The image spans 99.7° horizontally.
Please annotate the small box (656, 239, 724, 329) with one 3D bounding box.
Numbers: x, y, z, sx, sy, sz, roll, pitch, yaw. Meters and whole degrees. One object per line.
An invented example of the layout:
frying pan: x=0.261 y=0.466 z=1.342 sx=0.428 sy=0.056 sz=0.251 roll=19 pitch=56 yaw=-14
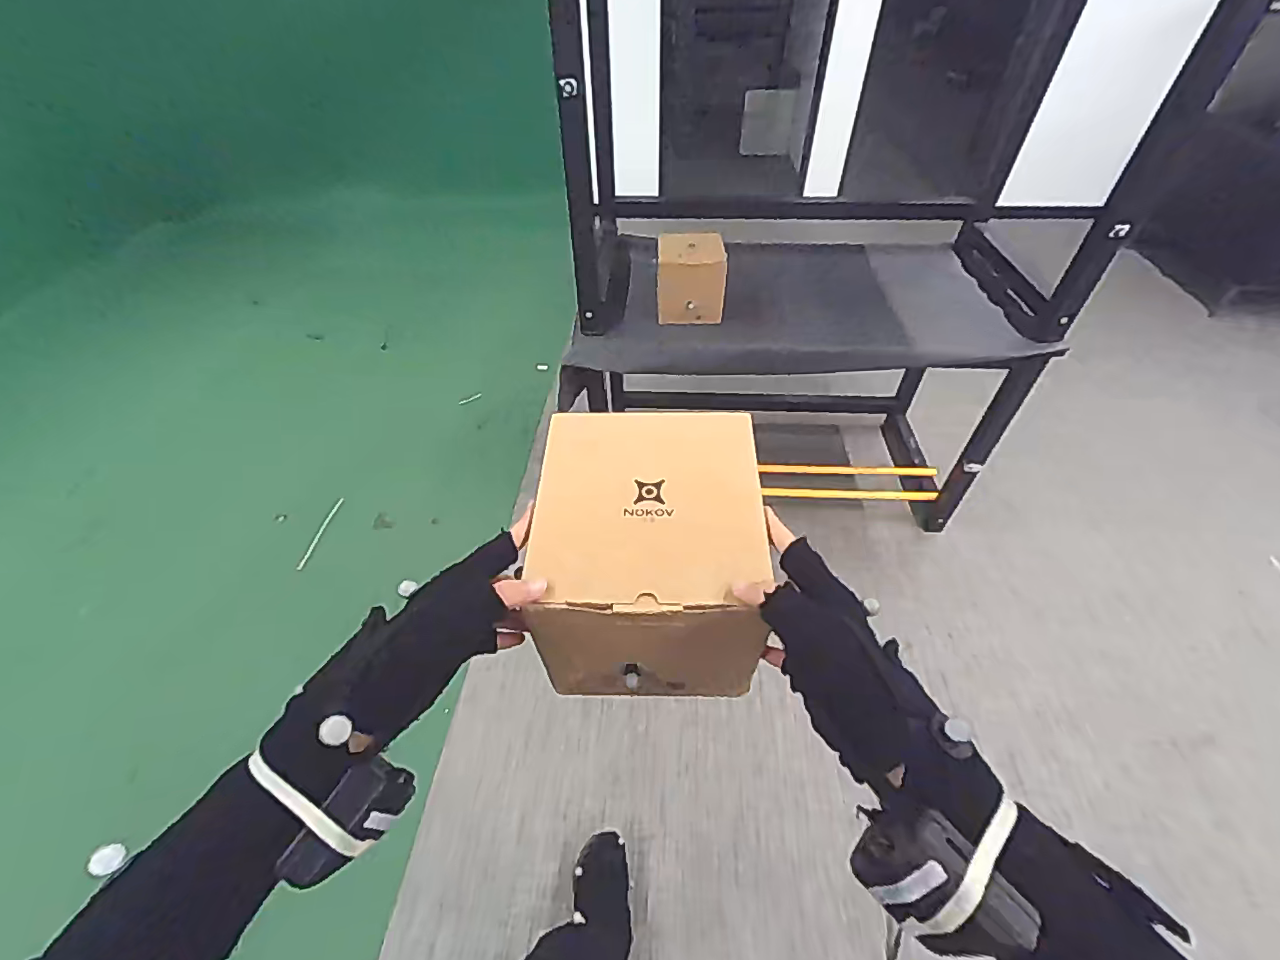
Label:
small box: x=0.126 y=-0.517 z=1.426 sx=0.168 sy=0.176 sz=0.179 roll=0 pitch=46 yaw=1
